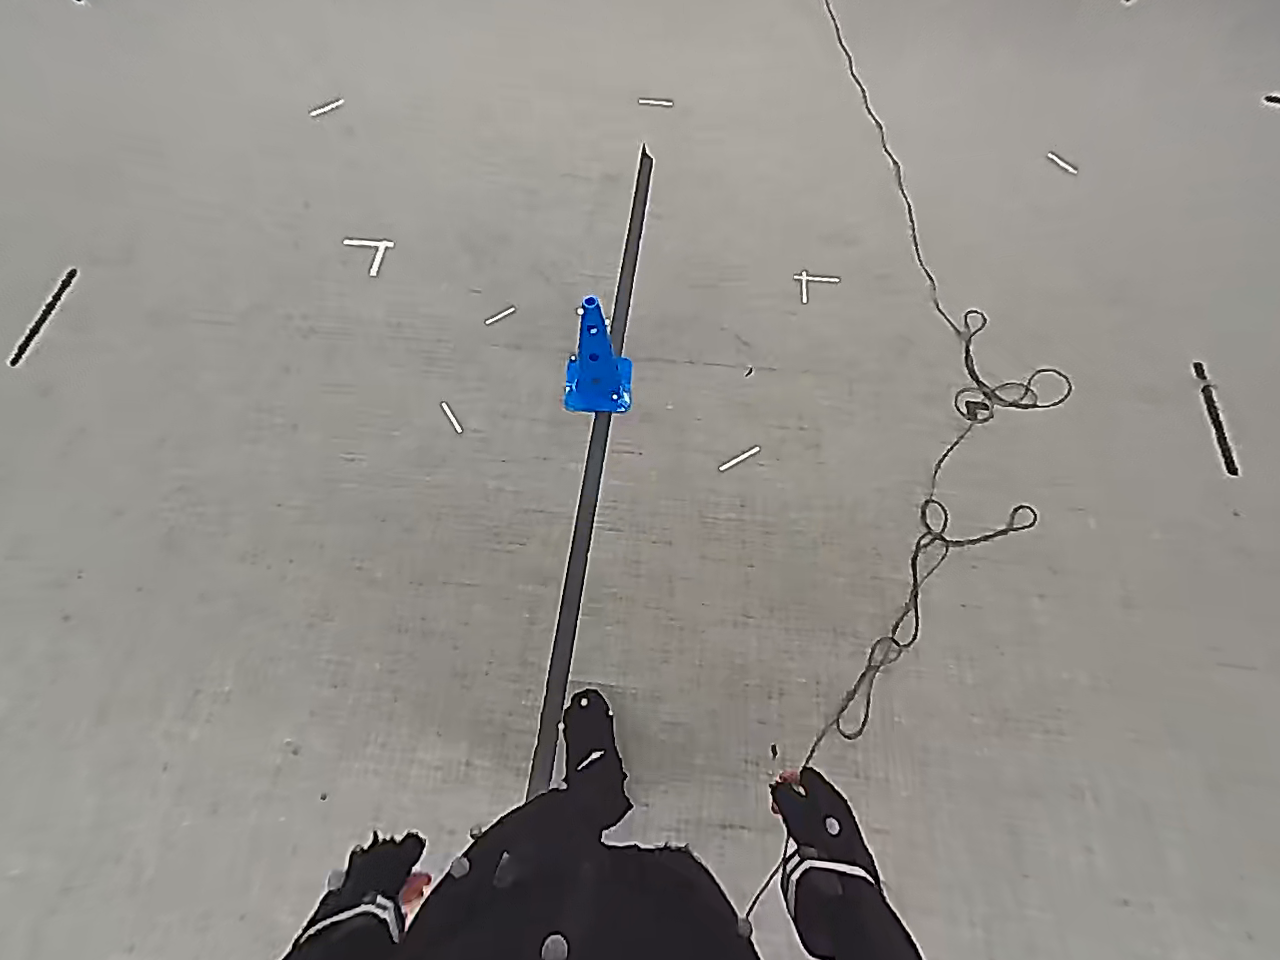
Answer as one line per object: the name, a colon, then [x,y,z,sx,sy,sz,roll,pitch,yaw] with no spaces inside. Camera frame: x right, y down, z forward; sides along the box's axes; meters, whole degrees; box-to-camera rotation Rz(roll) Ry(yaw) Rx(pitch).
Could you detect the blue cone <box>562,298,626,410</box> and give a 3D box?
blue cone: [-0.140,-0.363,1.514,0.192,0.380,0.193,3,65,1]
